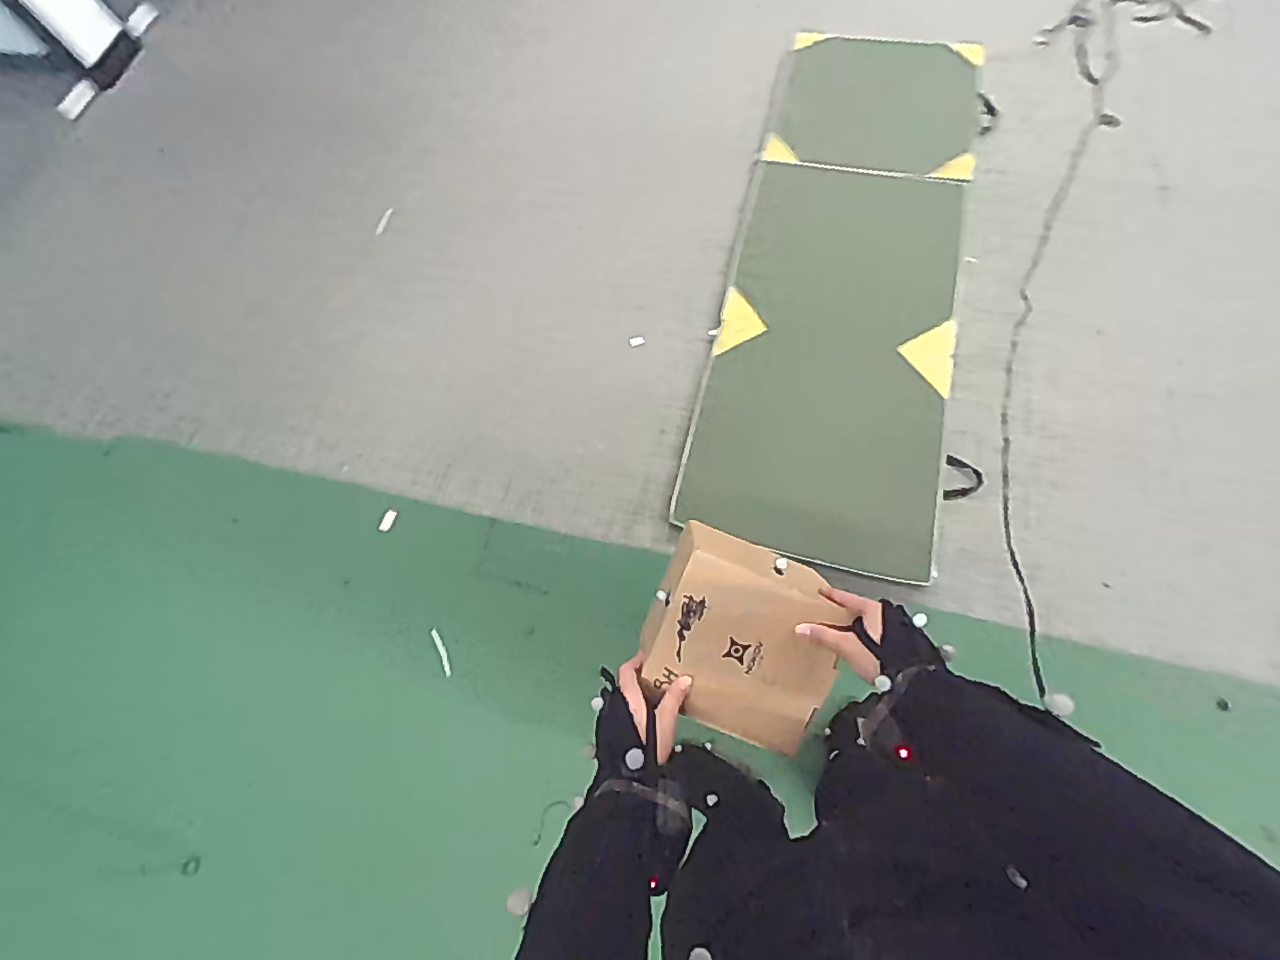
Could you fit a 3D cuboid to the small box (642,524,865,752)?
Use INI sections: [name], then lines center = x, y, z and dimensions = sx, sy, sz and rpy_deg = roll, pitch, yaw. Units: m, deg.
[small box]
center = 0.115, 0.161, 0.616
dimensions = 0.179, 0.176, 0.168
rpy_deg = 23, 95, 1
